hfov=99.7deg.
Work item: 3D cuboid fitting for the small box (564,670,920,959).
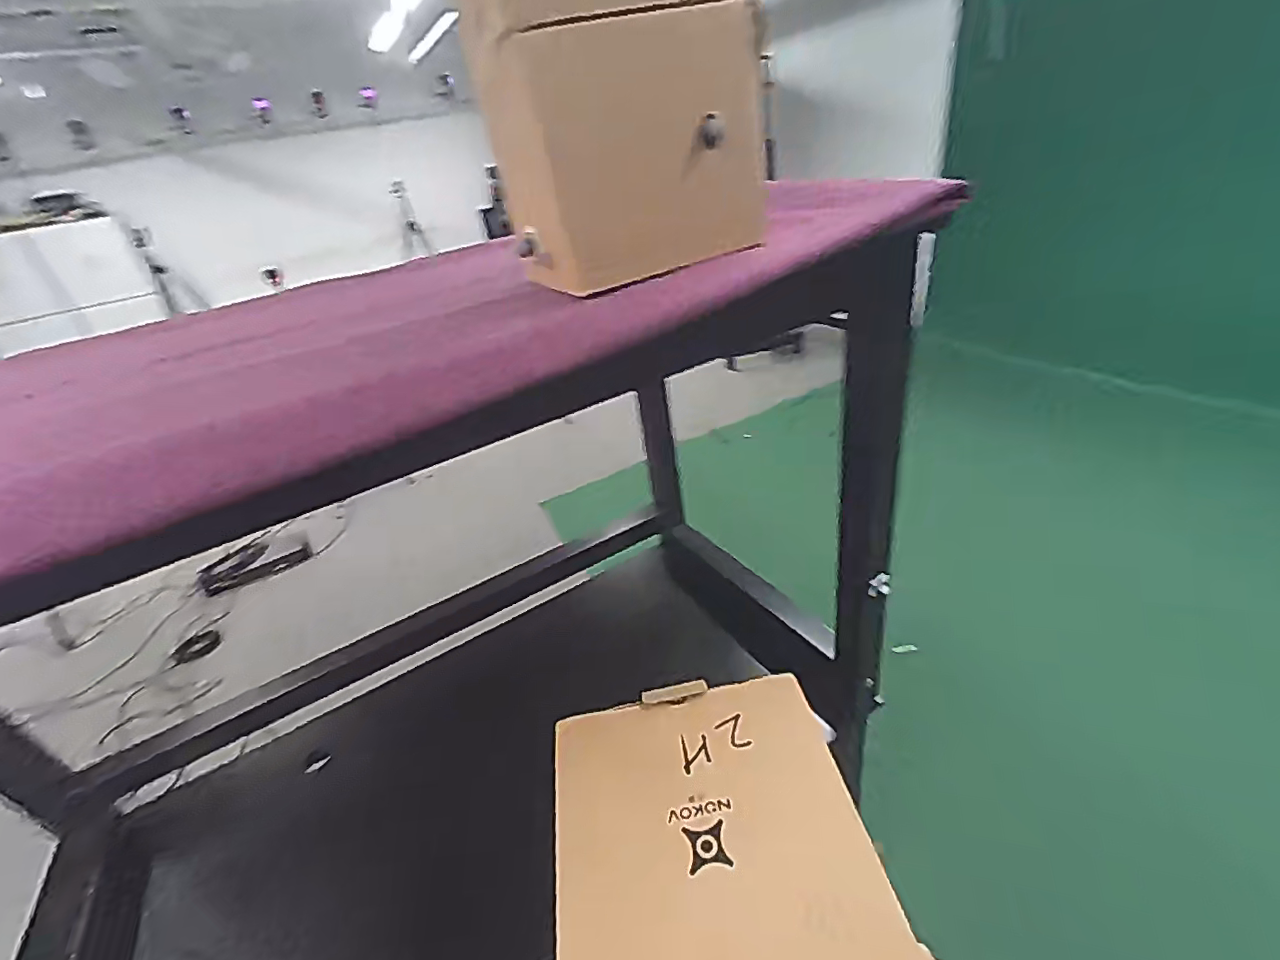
[{"bbox_3d":[0.050,0.257,0.344,0.168,0.176,0.179,-10,33,-2],"label":"small box"}]

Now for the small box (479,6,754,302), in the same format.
[{"bbox_3d":[-0.016,-0.268,0.468,0.179,0.176,0.168,-23,30,-16],"label":"small box"}]
